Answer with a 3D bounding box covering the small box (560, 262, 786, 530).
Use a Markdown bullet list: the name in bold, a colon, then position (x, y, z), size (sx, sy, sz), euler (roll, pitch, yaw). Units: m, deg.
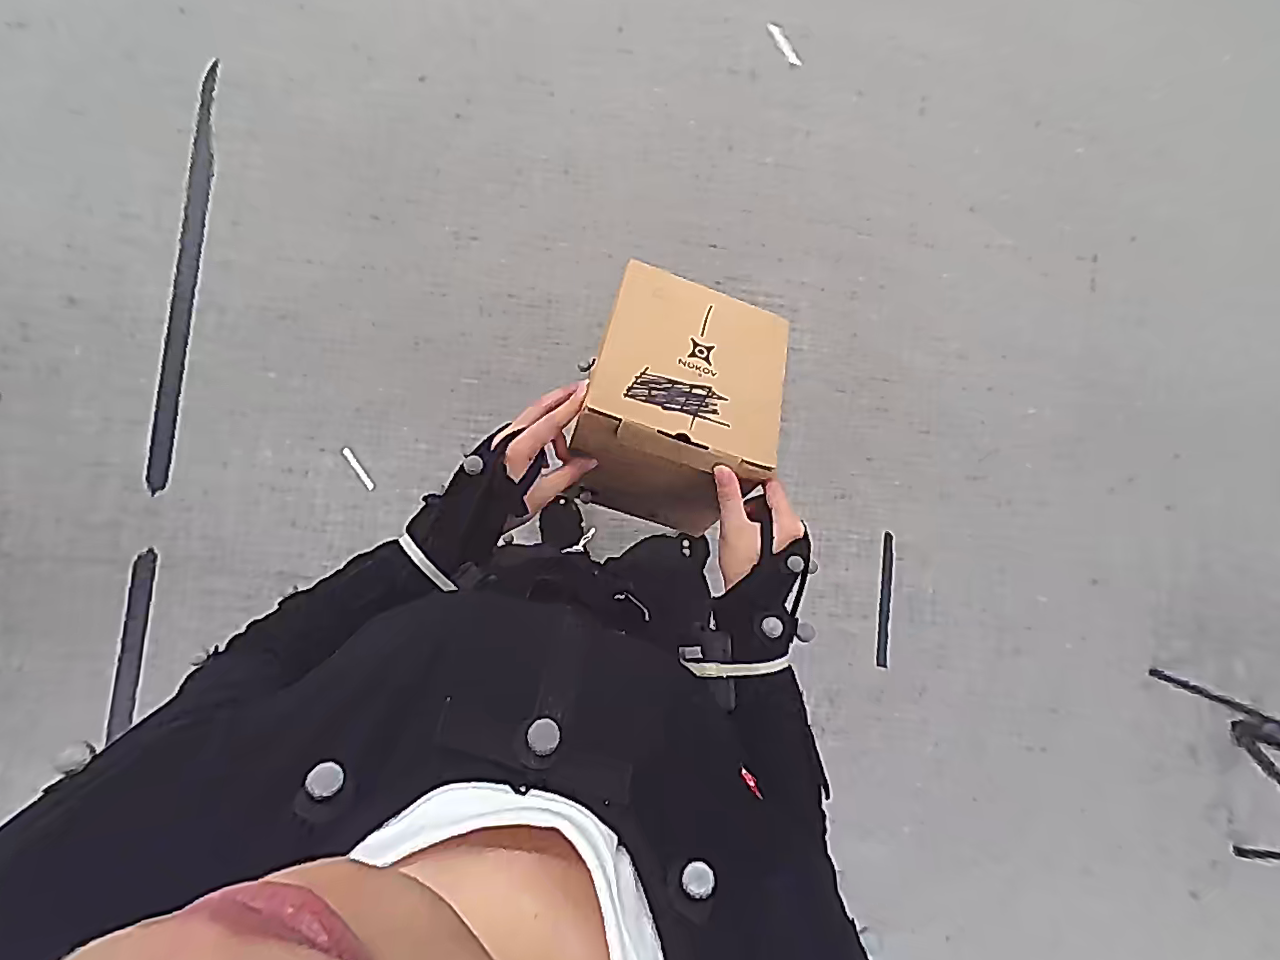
- **small box**: position (0.025, -0.070, 0.537), size (0.168, 0.176, 0.179), euler (18, 61, -9)
